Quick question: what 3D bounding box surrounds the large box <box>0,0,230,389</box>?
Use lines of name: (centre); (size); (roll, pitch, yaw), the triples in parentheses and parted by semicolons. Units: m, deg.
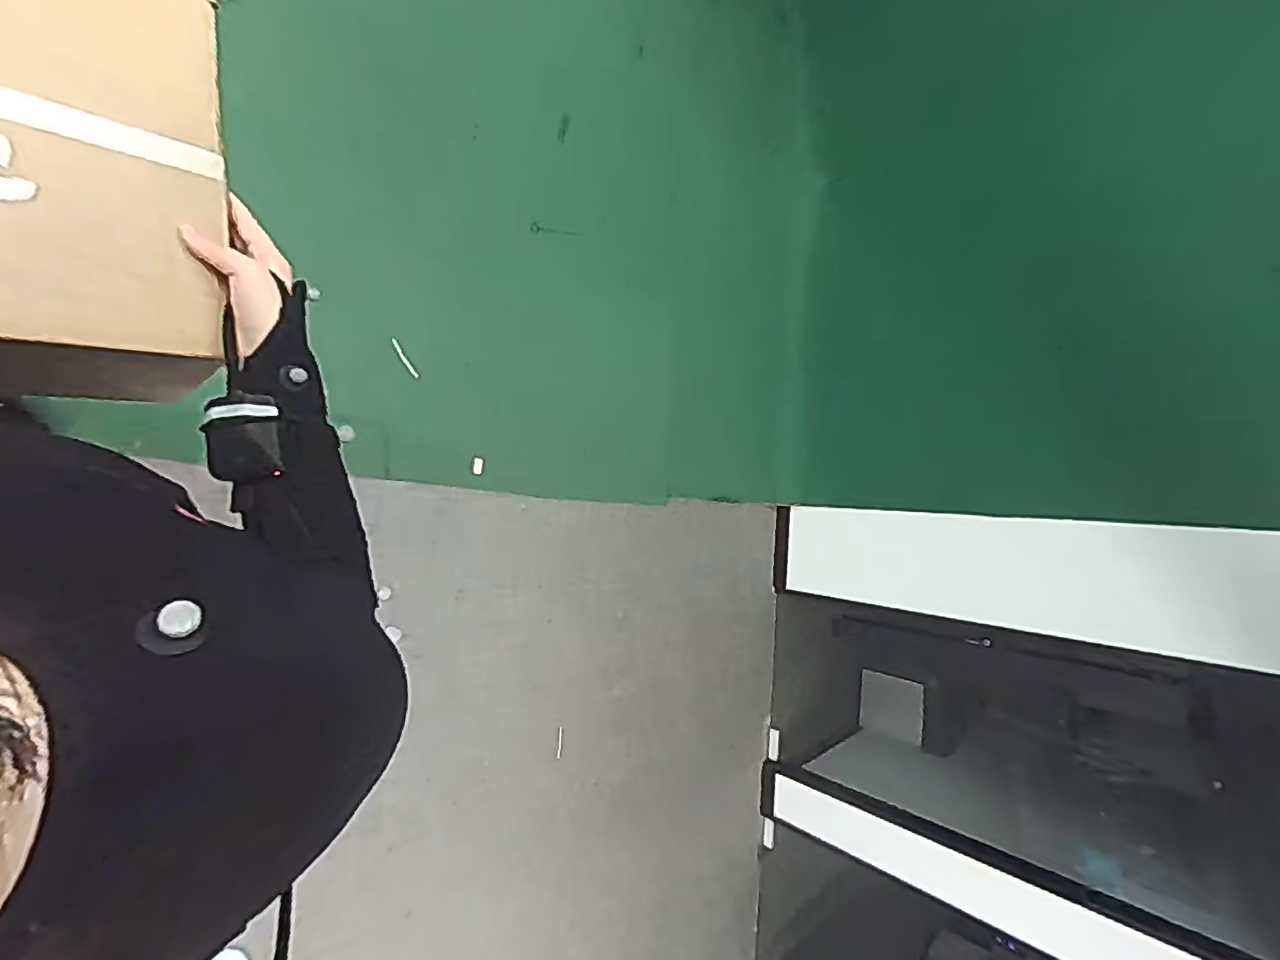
large box: (-0.596, -0.252, 0.402); (0.408, 0.320, 0.320); (-4, 92, -48)
